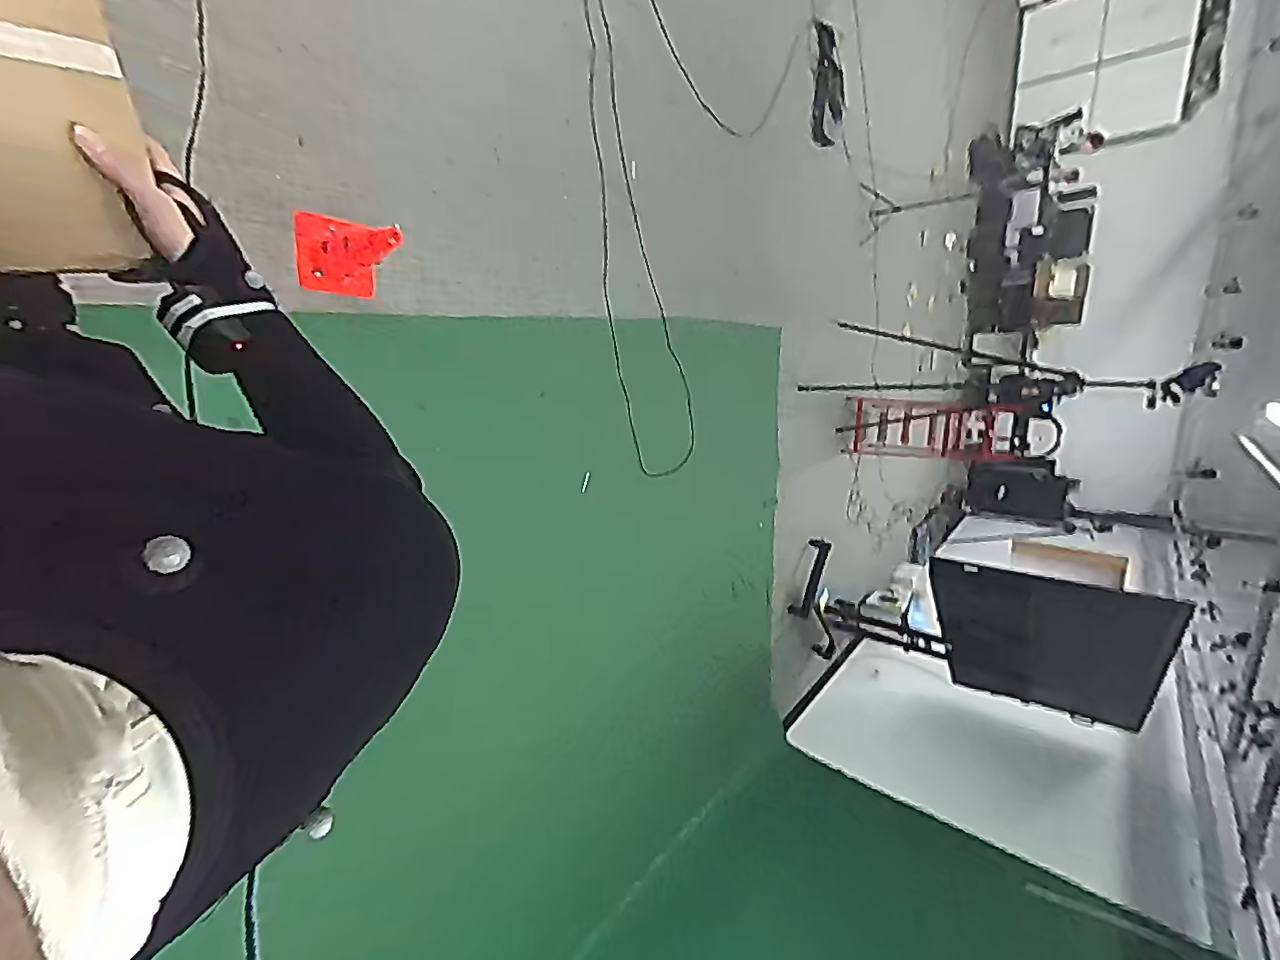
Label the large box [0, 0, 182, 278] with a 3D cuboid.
[{"bbox_3d":[-0.668,-0.316,0.393,0.408,0.320,0.320,-25,124,-47],"label":"large box"}]

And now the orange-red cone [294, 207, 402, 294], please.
[{"bbox_3d":[-0.711,-0.604,1.385,0.199,0.360,0.198,-8,105,-50],"label":"orange-red cone"}]
